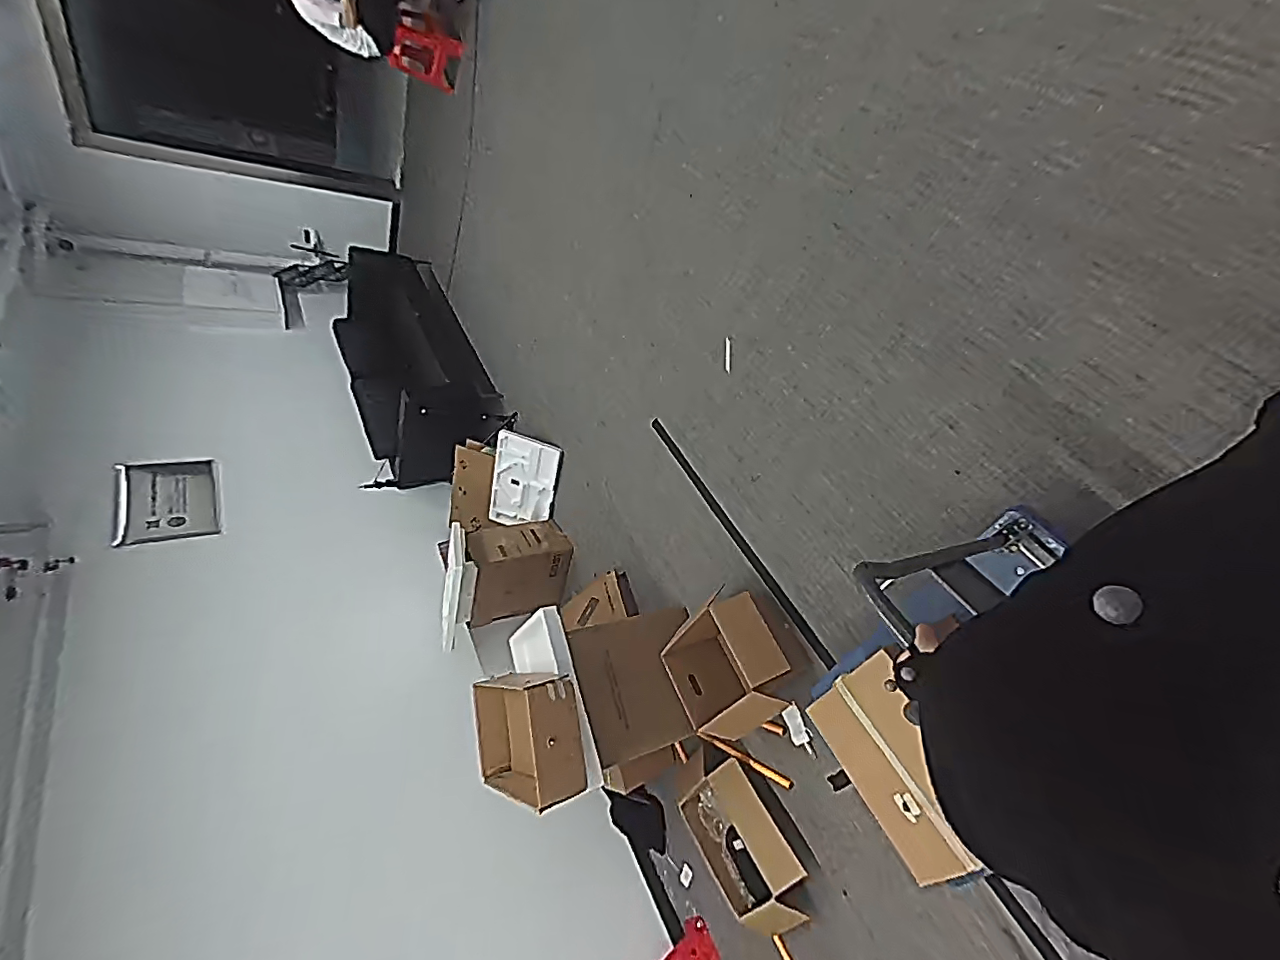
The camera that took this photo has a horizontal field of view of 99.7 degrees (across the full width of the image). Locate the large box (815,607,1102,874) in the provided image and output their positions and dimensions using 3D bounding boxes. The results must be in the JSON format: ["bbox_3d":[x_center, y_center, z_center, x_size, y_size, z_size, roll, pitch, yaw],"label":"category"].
[{"bbox_3d":[0.699,0.566,1.230,0.408,0.320,0.320,56,138,32],"label":"large box"}]
